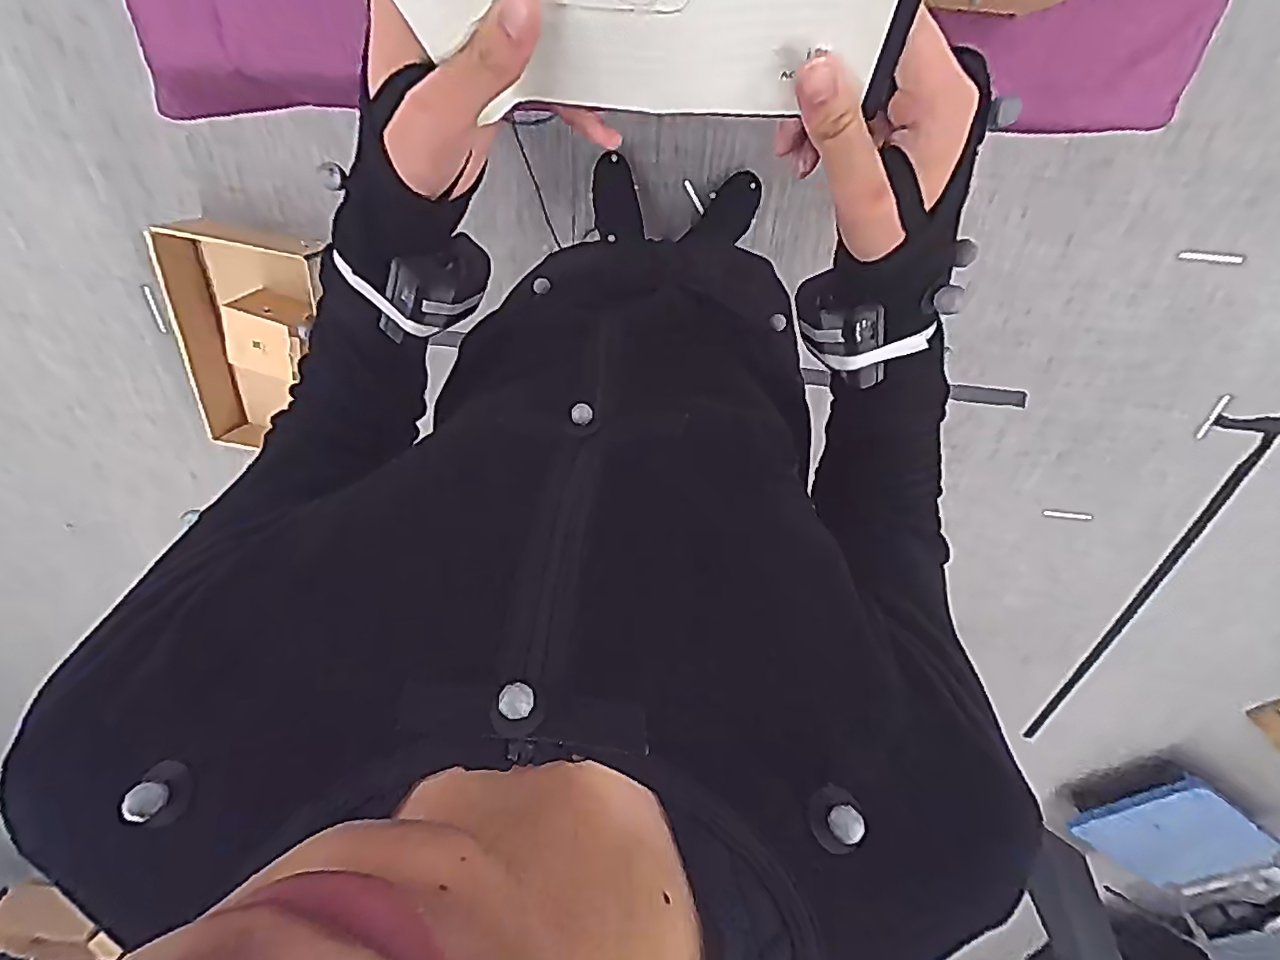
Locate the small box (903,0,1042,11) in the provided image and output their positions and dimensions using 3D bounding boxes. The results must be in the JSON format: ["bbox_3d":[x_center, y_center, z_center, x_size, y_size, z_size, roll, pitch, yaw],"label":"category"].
[{"bbox_3d":[0.322,-0.527,0.462,0.179,0.176,0.168,7,124,1],"label":"small box"}]

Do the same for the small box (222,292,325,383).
[{"bbox_3d":[-0.993,-0.397,1.486,0.179,0.176,0.168,17,124,-6],"label":"small box"}]
